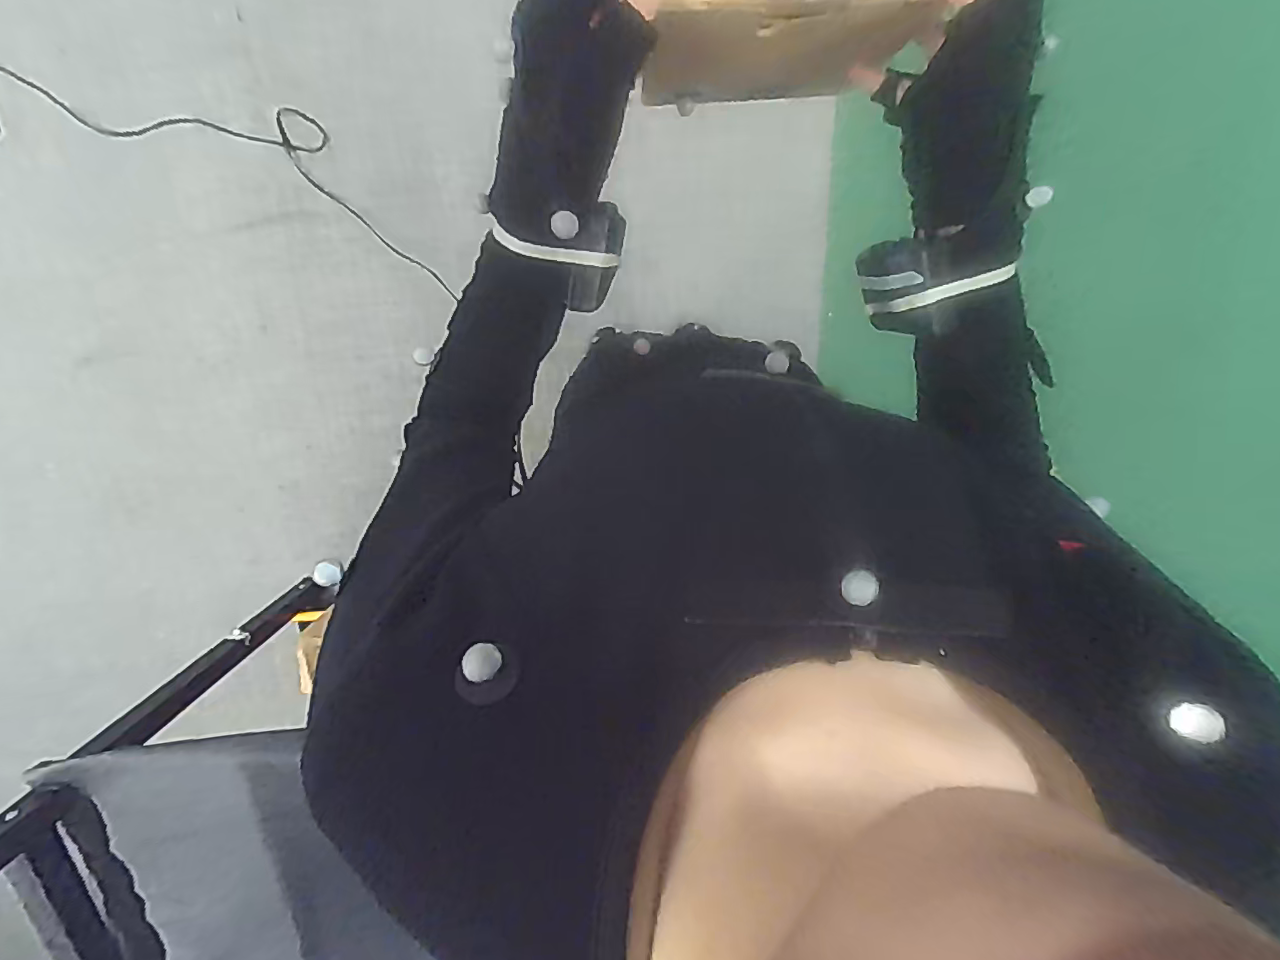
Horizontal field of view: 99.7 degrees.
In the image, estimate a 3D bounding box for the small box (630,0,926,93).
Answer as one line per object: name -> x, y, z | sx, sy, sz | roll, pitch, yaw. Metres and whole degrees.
small box -> 0.075, -0.353, 0.319 | 0.168, 0.176, 0.179 | -3, 109, 0
